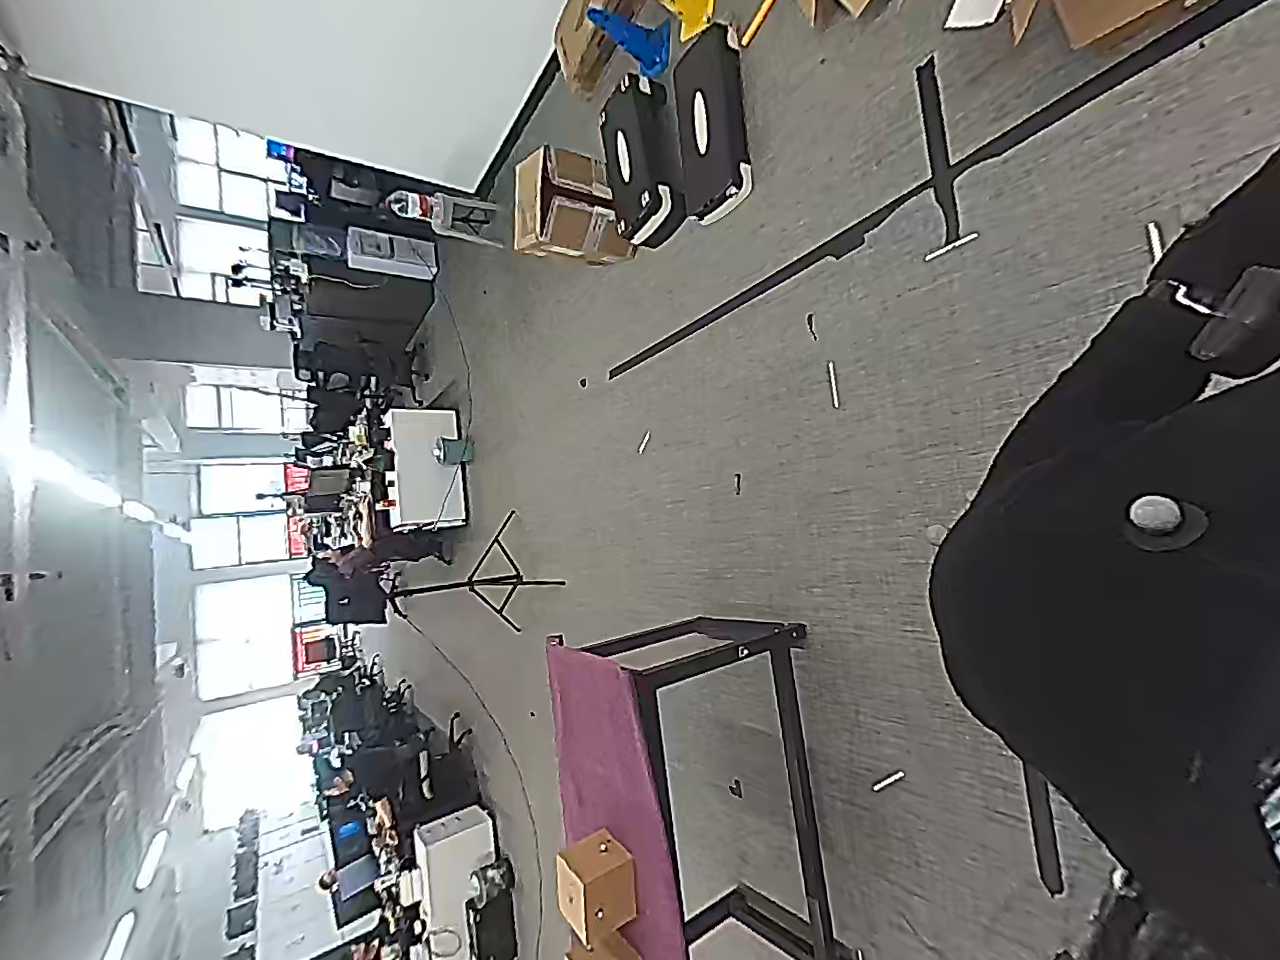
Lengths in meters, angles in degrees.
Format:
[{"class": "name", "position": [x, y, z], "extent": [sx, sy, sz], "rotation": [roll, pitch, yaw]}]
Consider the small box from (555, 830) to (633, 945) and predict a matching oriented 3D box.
[{"class": "small box", "position": [-0.130, 1.166, 1.564], "extent": [0.168, 0.176, 0.179], "rotation": [-1, 91, 55]}]
